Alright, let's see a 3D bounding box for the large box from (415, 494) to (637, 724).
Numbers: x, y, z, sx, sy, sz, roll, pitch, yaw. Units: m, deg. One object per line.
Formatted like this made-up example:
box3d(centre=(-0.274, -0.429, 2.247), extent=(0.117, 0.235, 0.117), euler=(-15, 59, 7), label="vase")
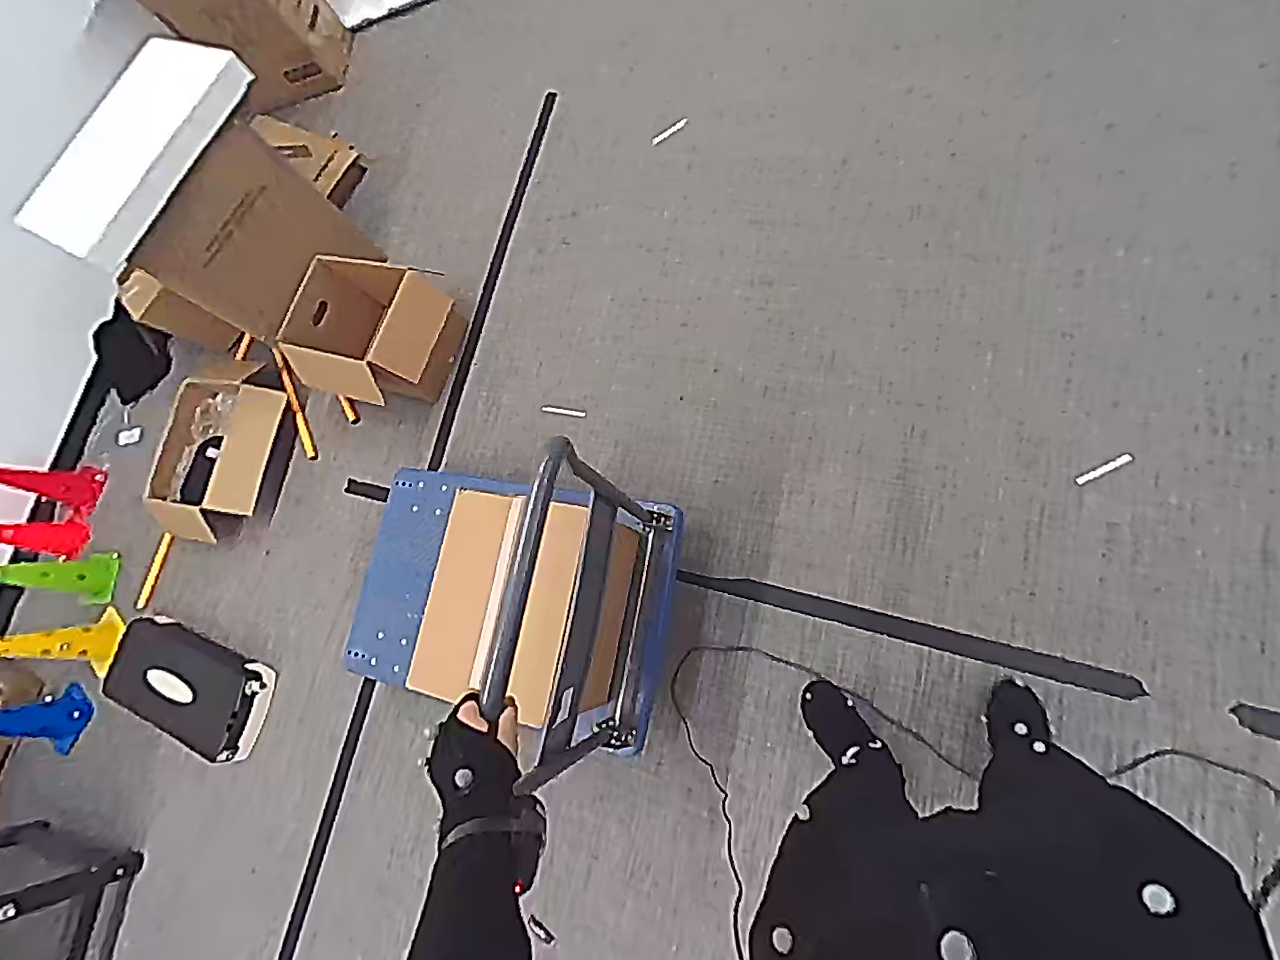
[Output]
box3d(centre=(-0.225, 0.271, 1.186), extent=(0.320, 0.320, 0.408), euler=(6, 77, 19), label="large box")
